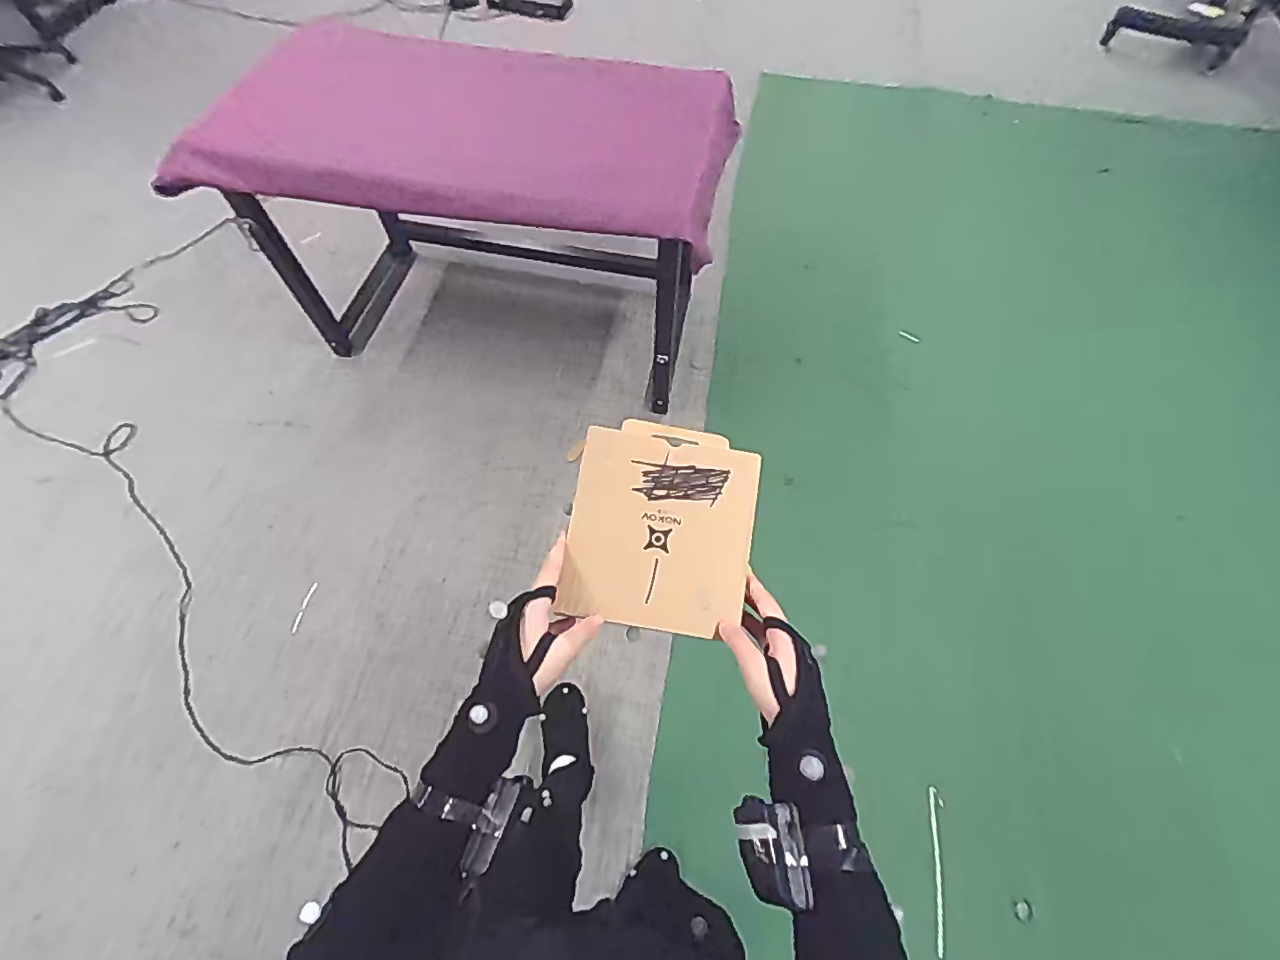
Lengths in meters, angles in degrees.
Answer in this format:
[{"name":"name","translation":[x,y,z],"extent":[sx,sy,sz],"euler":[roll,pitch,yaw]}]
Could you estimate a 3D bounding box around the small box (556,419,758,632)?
[{"name":"small box","translation":[0.016,0.056,0.570],"extent":[0.168,0.176,0.179],"euler":[9,76,1]}]
